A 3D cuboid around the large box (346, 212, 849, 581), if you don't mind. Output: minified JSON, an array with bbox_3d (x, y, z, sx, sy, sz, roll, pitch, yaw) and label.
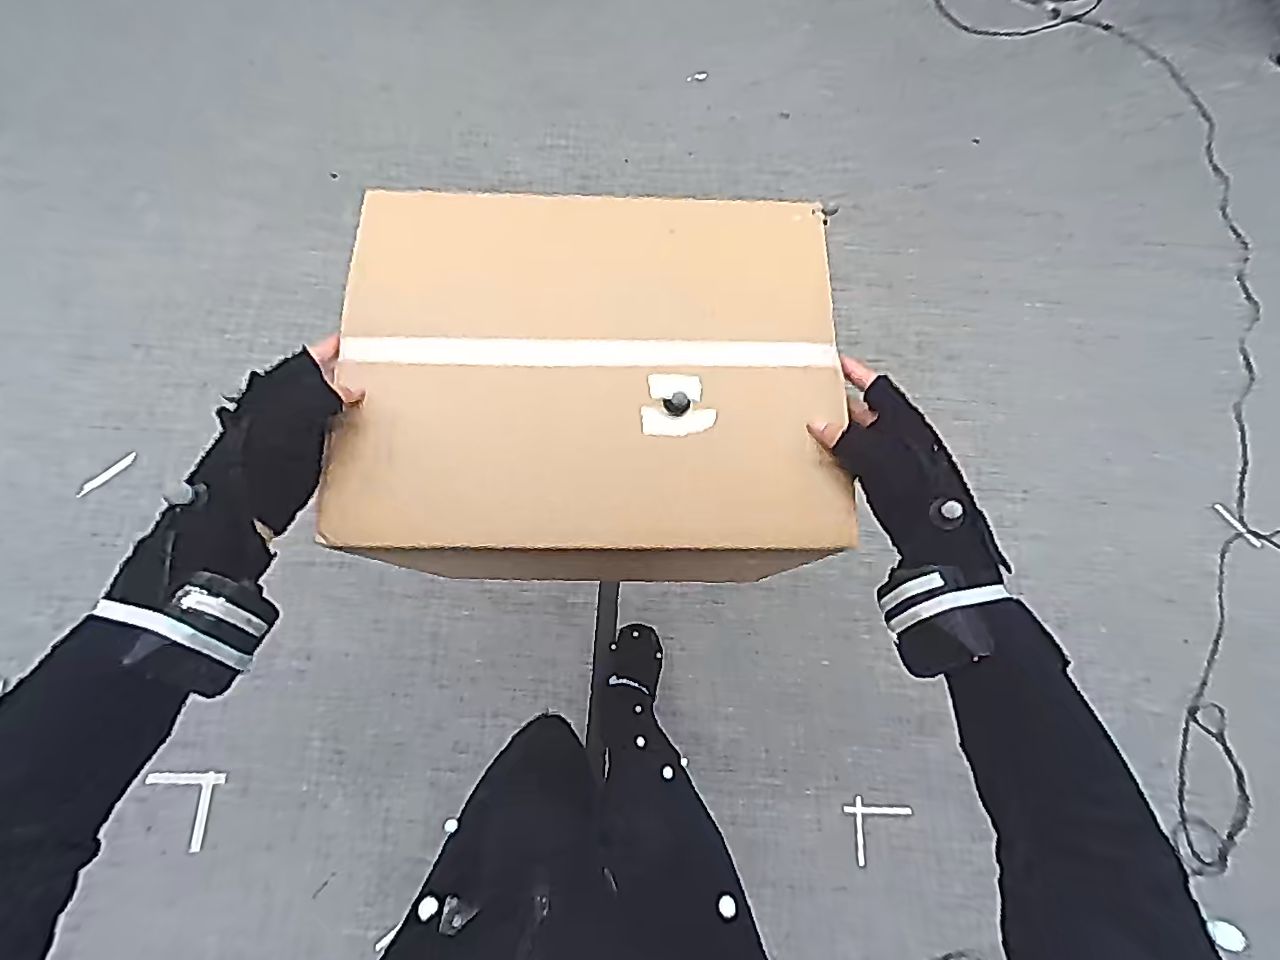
[{"bbox_3d":[-0.039,-0.058,0.604,0.408,0.320,0.320,1,76,-3],"label":"large box"}]
